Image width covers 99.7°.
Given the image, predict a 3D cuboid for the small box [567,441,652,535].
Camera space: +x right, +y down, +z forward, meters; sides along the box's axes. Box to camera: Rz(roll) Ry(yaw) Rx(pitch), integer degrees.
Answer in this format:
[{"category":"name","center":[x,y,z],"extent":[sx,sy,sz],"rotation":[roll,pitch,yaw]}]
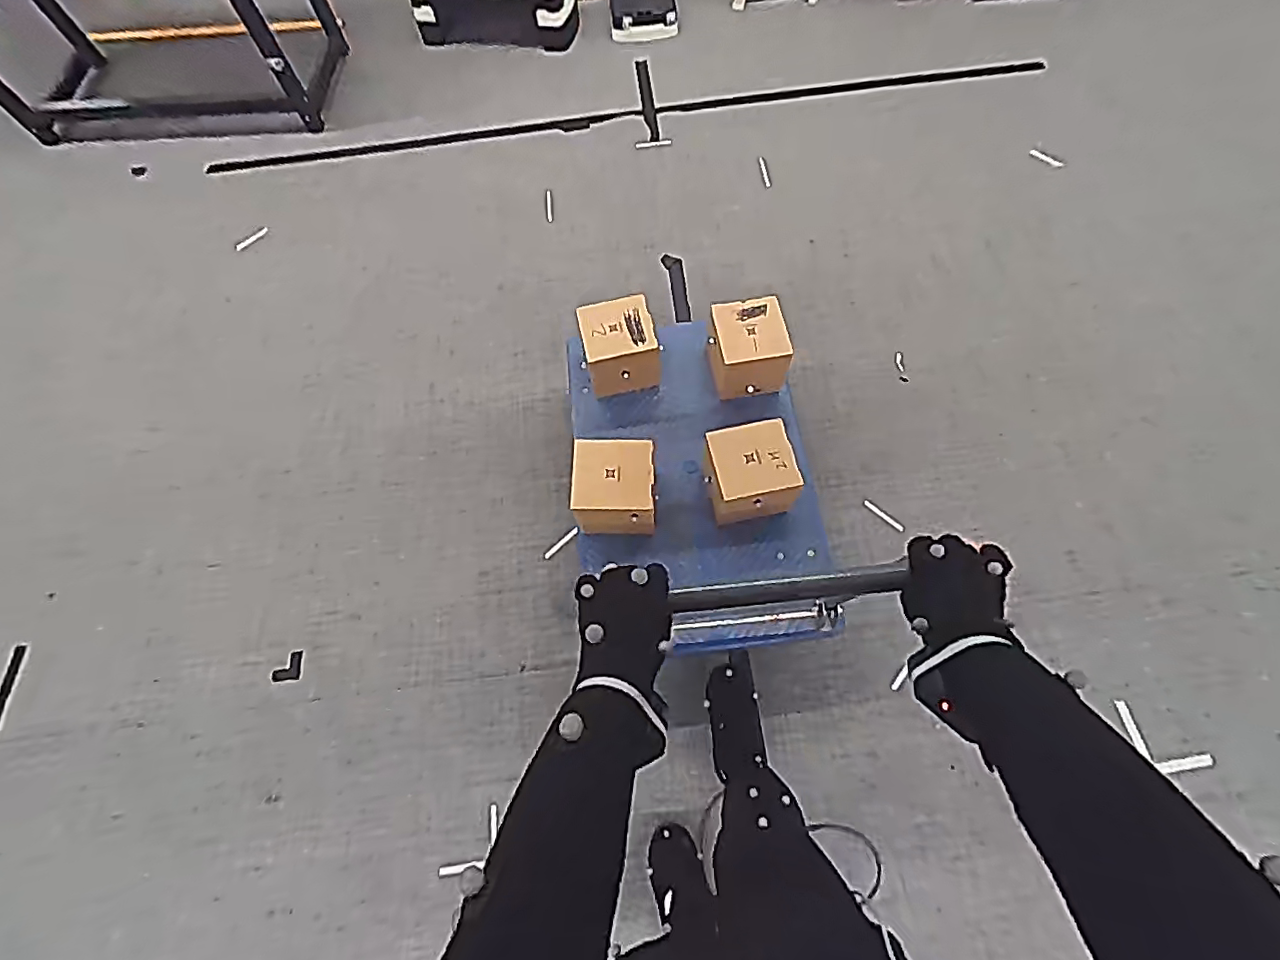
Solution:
[{"category":"small box","center":[-0.062,0.023,1.223],"extent":[0.179,0.176,0.168],"rotation":[0,67,0]}]

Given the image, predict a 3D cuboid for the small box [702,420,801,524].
[{"category":"small box","center":[0.241,-0.012,1.224],"extent":[0.179,0.176,0.168],"rotation":[-11,68,-2]}]

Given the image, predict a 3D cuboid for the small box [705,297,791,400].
[{"category":"small box","center":[0.261,-0.325,1.352],"extent":[0.168,0.176,0.179],"rotation":[-9,68,-1]}]
